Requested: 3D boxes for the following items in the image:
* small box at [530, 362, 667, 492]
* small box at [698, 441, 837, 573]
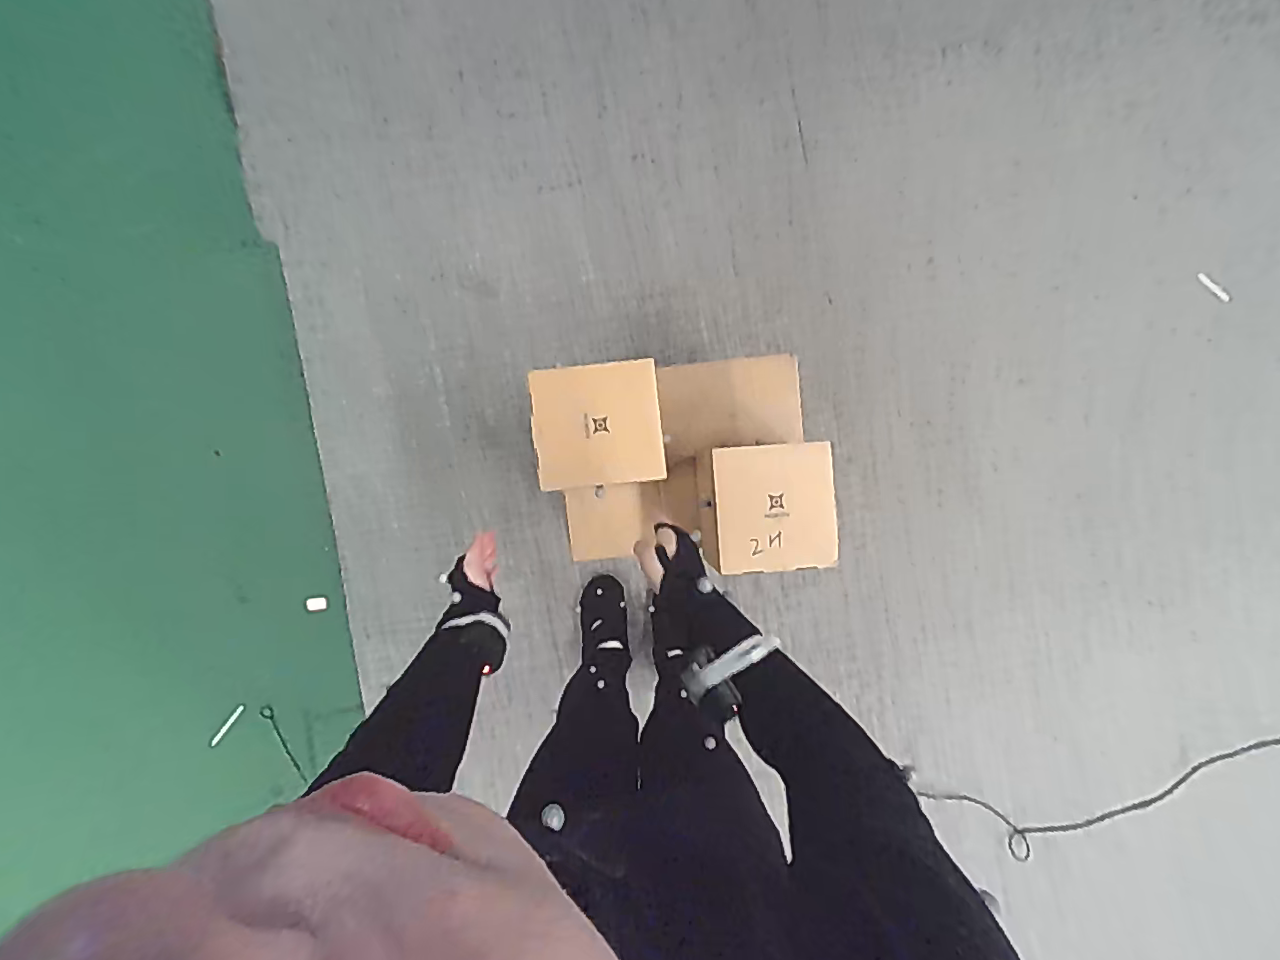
[{"bbox_3d":[-0.058,-0.073,0.814,0.179,0.176,0.168,-6,89,0],"label":"small box"},{"bbox_3d":[0.181,0.039,0.816,0.168,0.176,0.179,-3,89,-1],"label":"small box"}]
